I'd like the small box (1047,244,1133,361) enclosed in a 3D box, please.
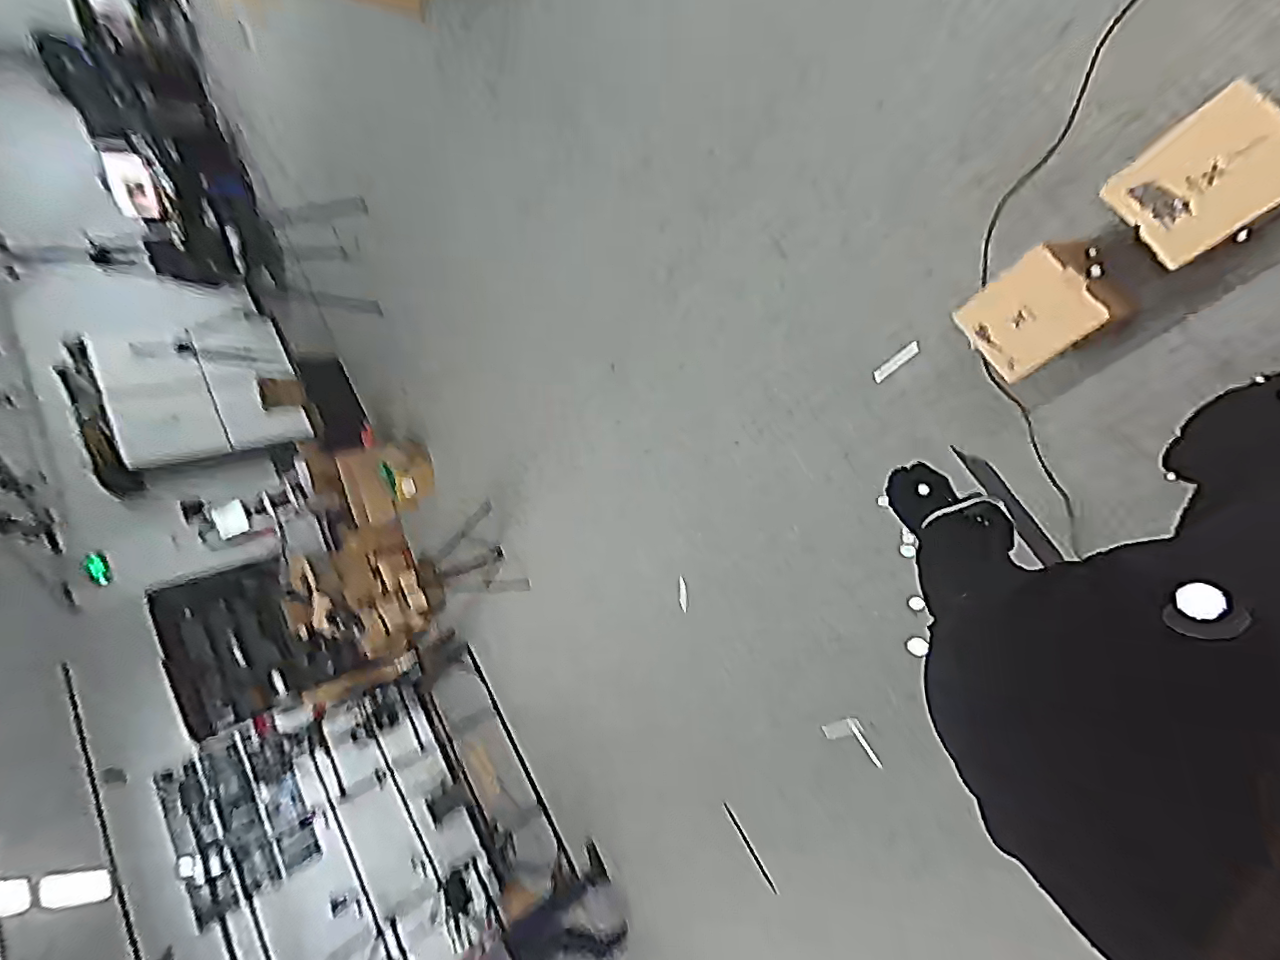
[{"bbox_3d":[0.840,-0.350,1.095,0.179,0.176,0.168,58,141,13],"label":"small box"}]

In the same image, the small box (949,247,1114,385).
[{"bbox_3d":[0.722,-0.302,0.993,0.168,0.176,0.179,59,140,15],"label":"small box"}]

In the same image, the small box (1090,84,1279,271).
[{"bbox_3d":[0.834,-0.434,0.808,0.179,0.176,0.168,-44,71,46],"label":"small box"}]
